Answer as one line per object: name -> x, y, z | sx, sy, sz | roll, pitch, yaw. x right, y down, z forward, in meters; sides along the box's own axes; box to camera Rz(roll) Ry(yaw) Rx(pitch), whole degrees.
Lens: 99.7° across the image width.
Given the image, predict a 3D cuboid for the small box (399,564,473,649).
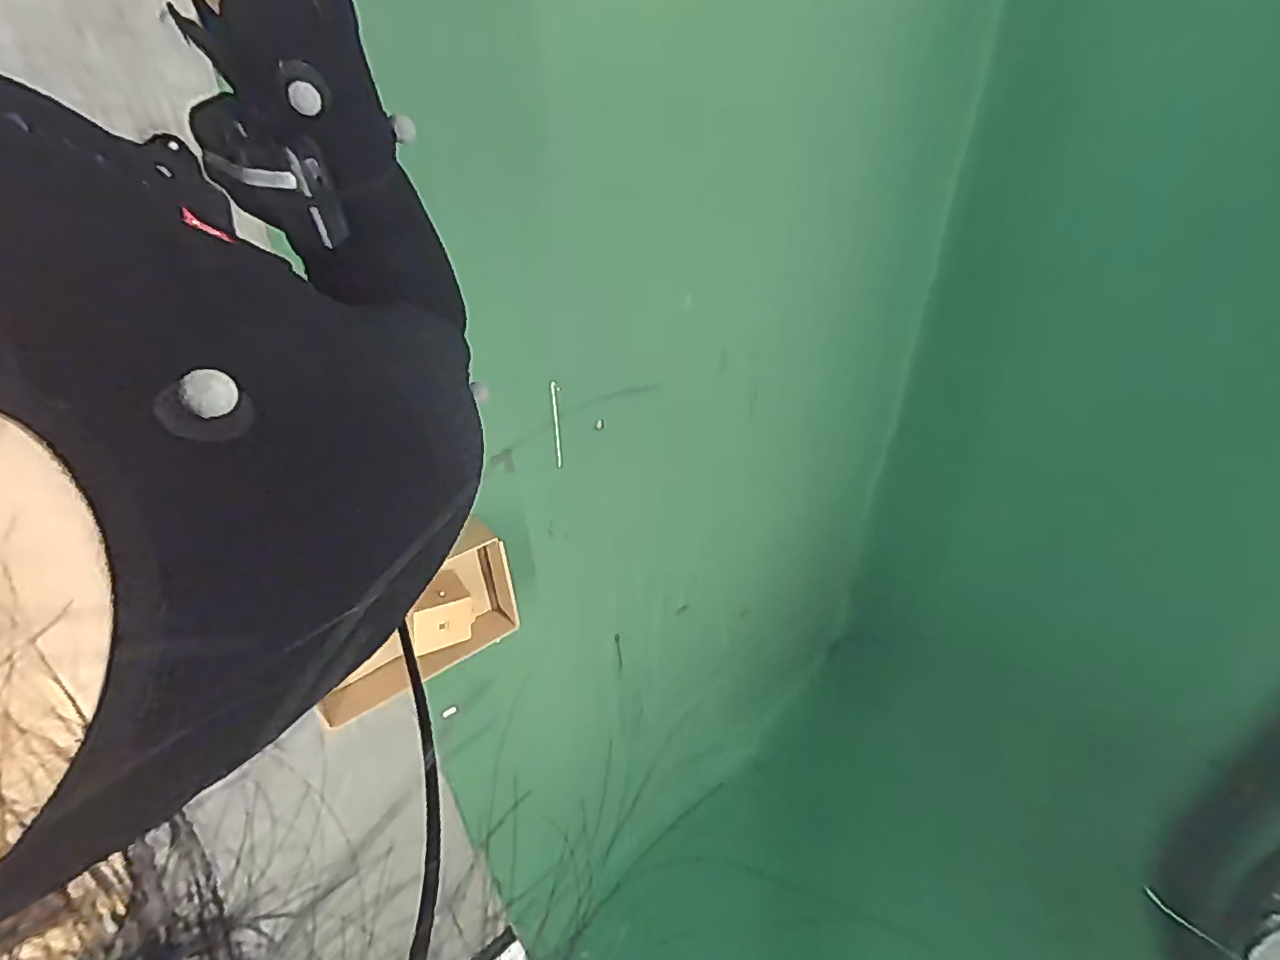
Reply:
small box -> -0.633, 0.383, 1.668 | 0.179, 0.176, 0.168 | -11, 122, -38
